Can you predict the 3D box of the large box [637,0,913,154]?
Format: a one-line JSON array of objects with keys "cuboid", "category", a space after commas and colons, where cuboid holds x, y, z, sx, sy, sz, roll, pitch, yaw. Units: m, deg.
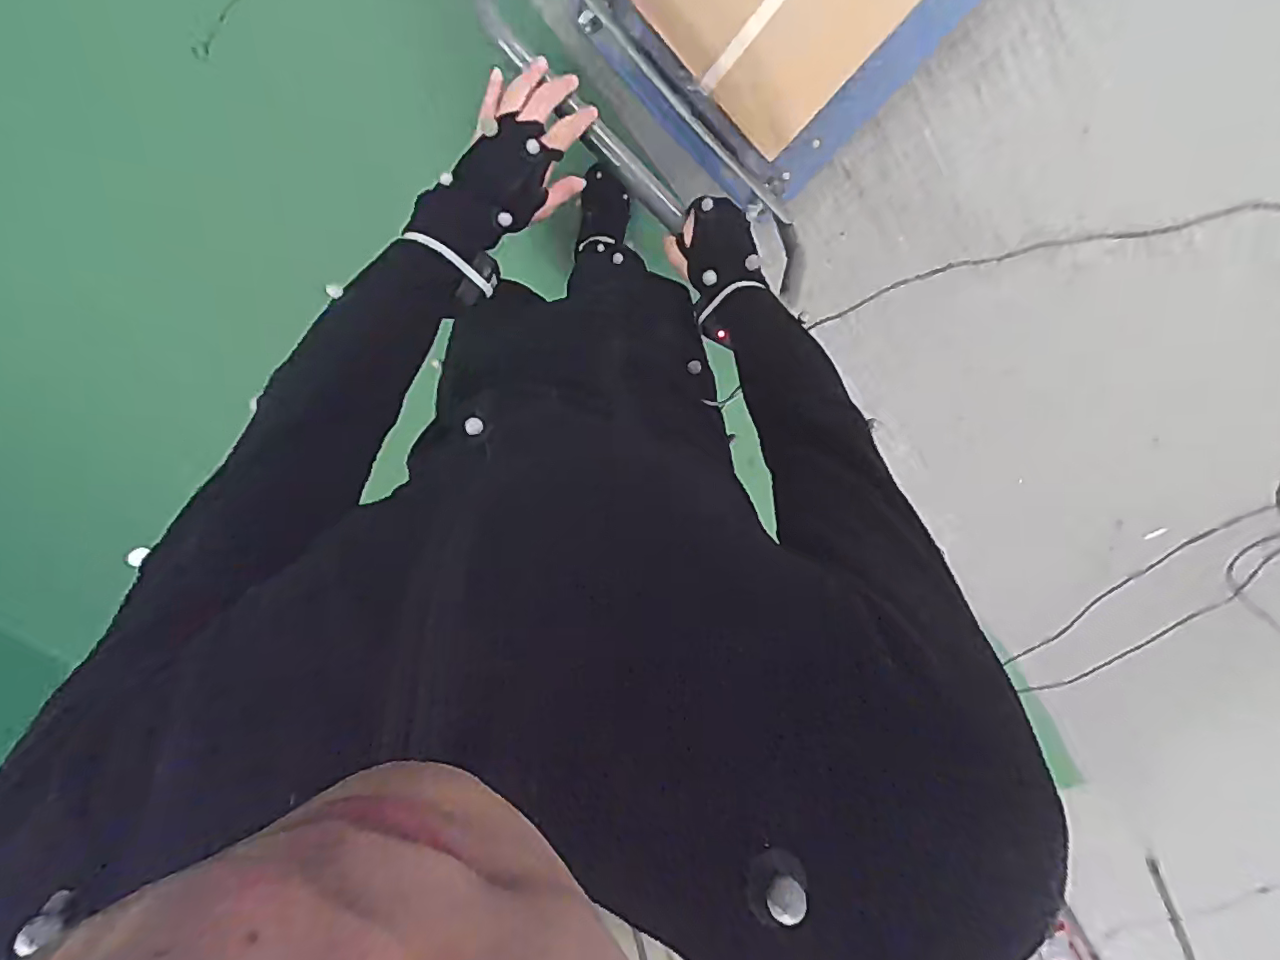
[{"cuboid": [0.245, -0.818, 0.871, 0.320, 0.320, 0.408, 38, 119, -20], "category": "large box"}]
